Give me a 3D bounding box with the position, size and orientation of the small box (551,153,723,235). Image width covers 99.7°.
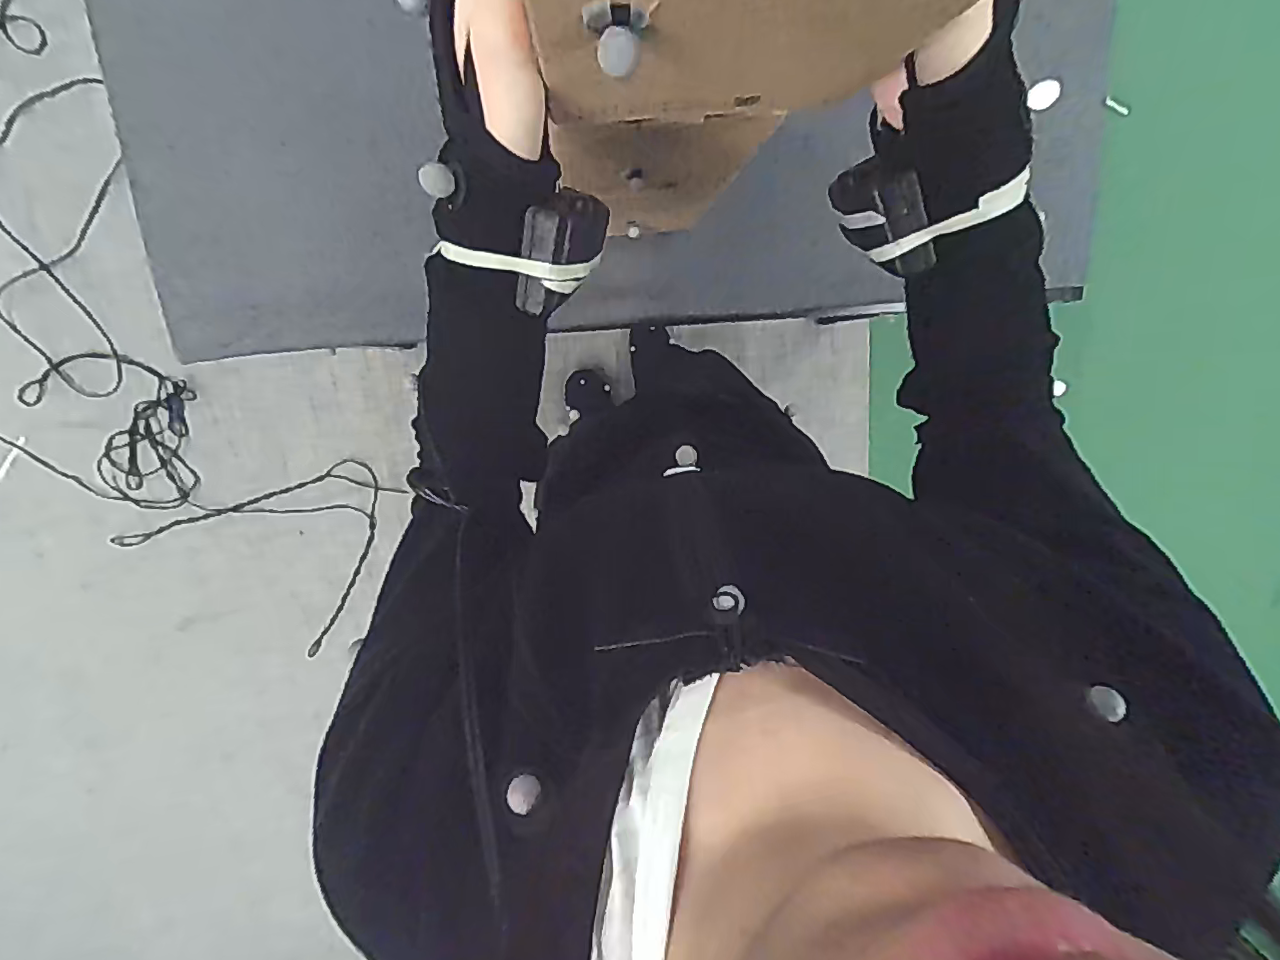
[{"bbox_3d":[-0.014,-0.380,0.581,0.168,0.176,0.179,-6,102,-4],"label":"small box"}]

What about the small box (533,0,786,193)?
[{"bbox_3d":[0.003,-0.348,0.423,0.168,0.176,0.179,-6,102,-5],"label":"small box"}]
